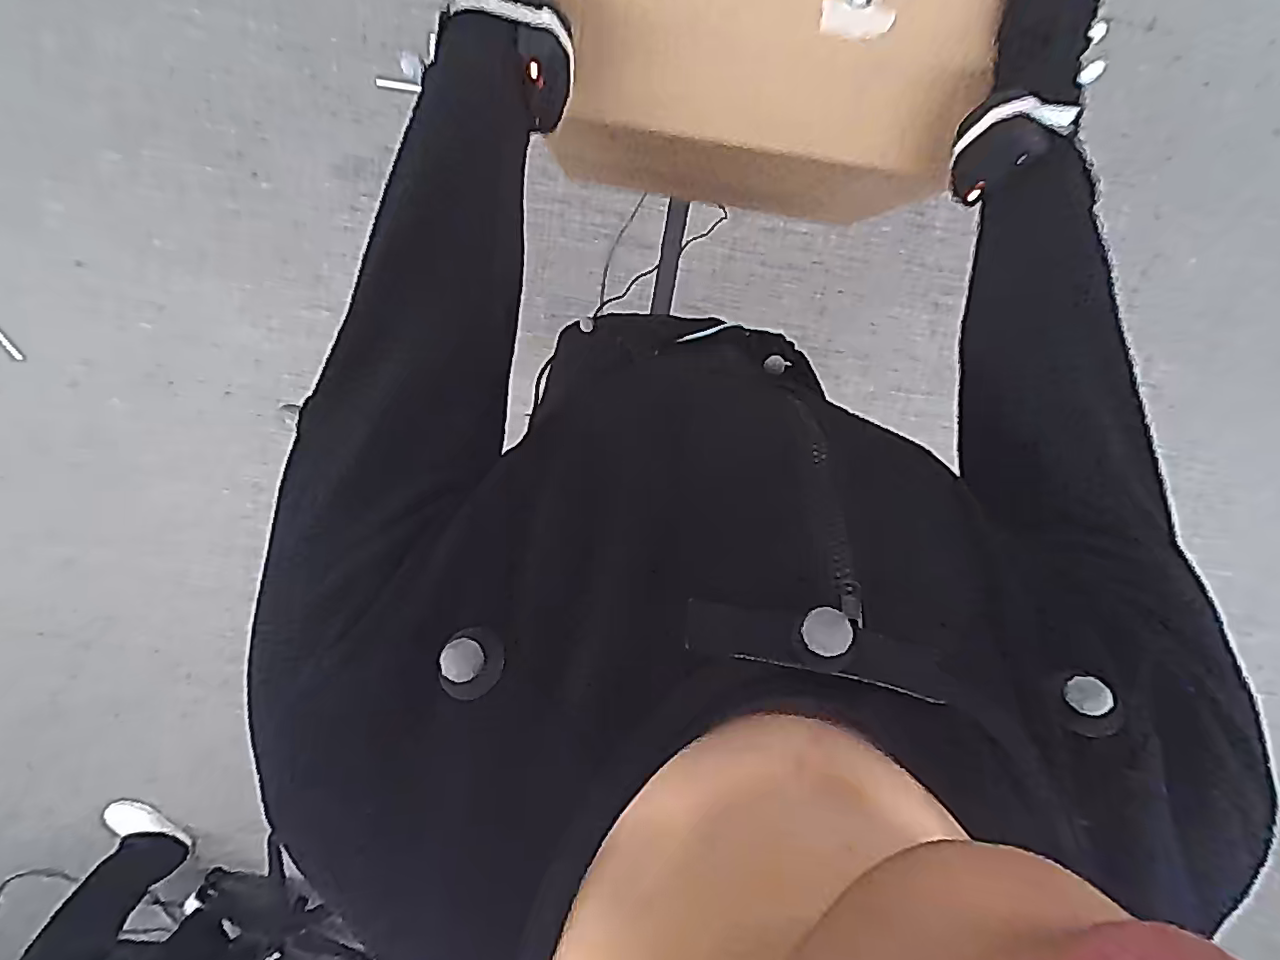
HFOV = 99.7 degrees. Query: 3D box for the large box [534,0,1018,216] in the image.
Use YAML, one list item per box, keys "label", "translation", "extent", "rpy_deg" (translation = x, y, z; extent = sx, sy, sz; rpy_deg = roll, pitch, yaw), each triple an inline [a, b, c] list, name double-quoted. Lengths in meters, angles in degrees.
- label: "large box"
  translation: [0.119, -0.493, 0.573]
  extent: [0.408, 0.320, 0.320]
  rpy_deg: [8, 110, -3]
